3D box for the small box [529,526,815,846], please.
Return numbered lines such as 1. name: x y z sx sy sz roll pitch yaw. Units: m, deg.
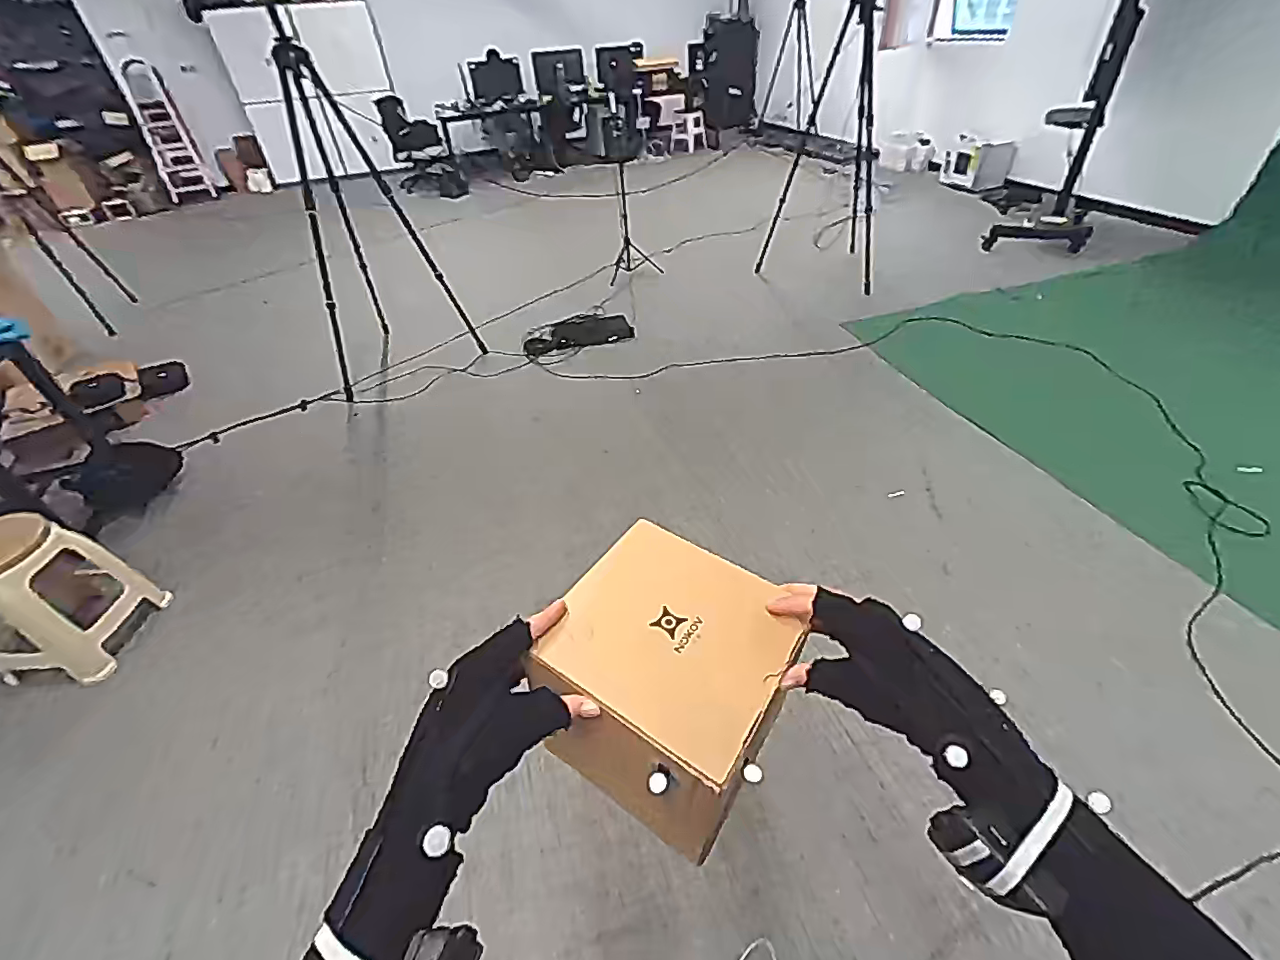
1. small box: 0.026 0.178 0.481 0.179 0.176 0.168 26 46 25
